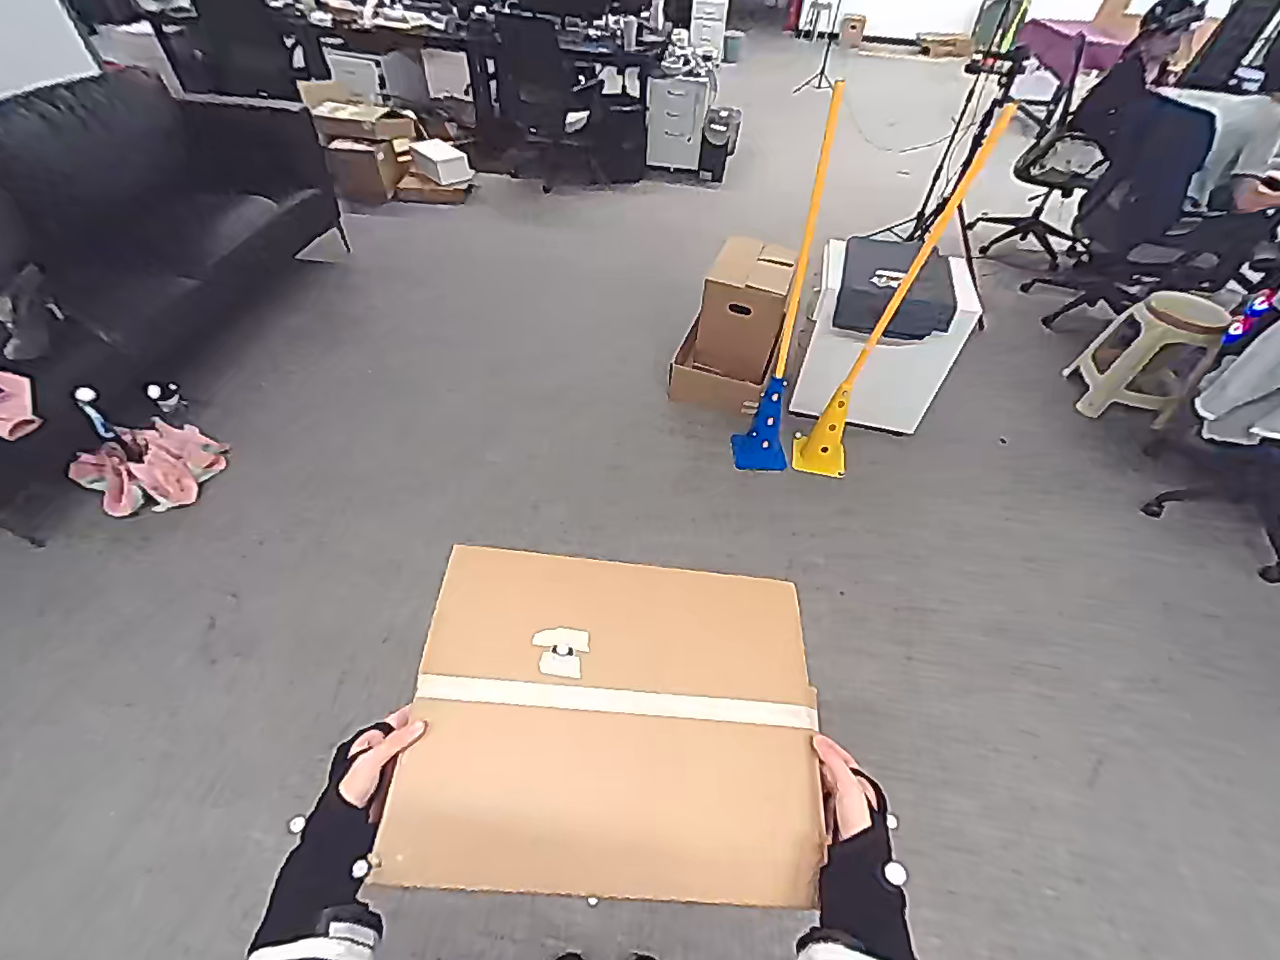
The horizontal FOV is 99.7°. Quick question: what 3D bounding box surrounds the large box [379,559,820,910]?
[{"bbox_3d":[-0.039,0.320,0.685,0.408,0.320,0.320,7,56,-4],"label":"large box"}]
